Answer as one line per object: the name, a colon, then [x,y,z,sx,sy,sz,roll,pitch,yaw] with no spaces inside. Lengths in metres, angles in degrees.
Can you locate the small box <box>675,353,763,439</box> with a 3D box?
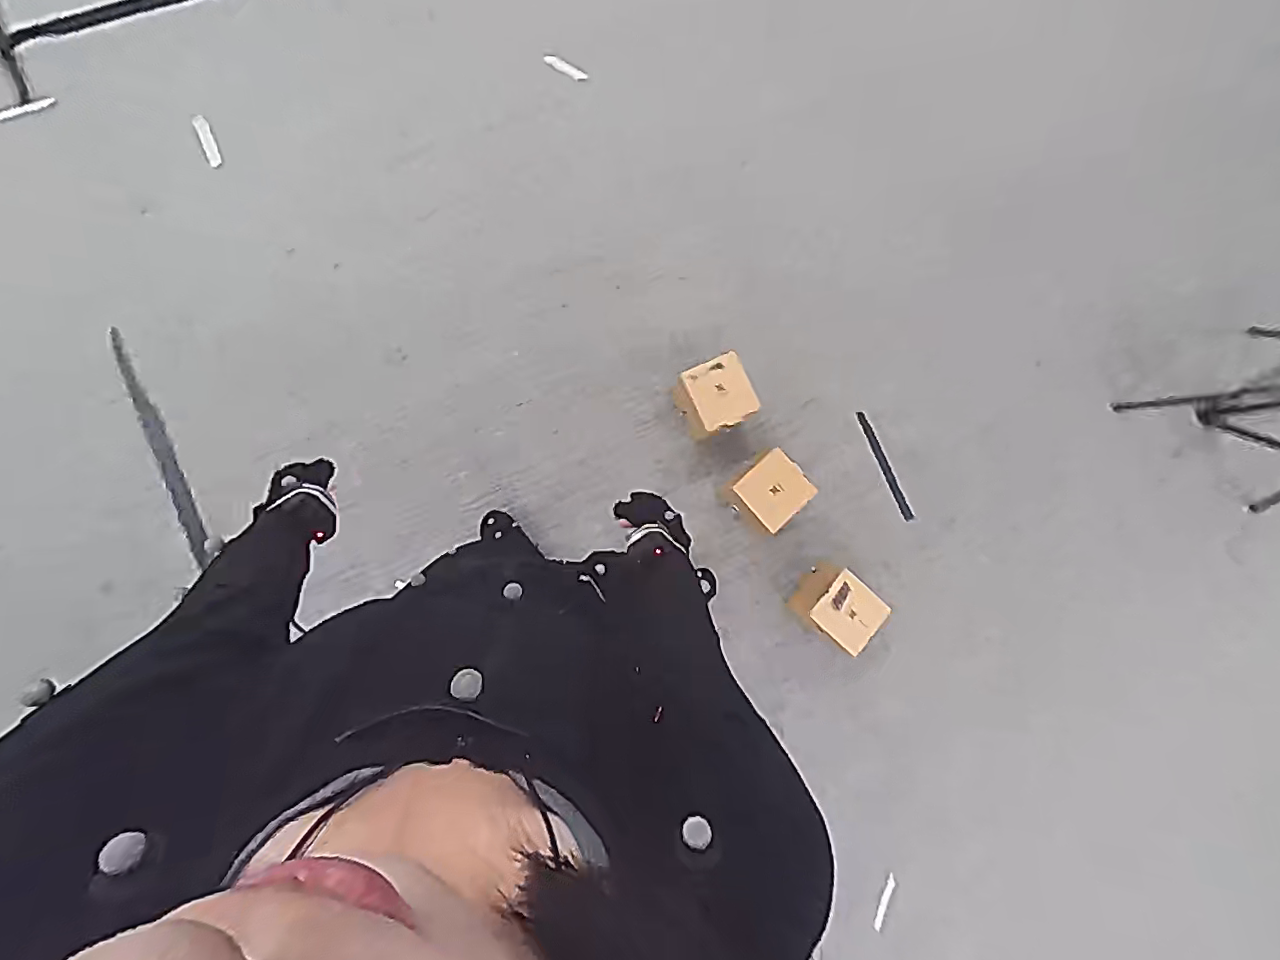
small box: [0.213,-0.222,1.501,0.168,0.176,0.179,-24,88,-8]

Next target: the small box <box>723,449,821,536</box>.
small box: [0.356,0.038,1.496,0.179,0.176,0.168,-41,90,-7]

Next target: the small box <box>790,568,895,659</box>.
small box: [0.548,0.359,1.490,0.179,0.176,0.168,42,83,-3]
